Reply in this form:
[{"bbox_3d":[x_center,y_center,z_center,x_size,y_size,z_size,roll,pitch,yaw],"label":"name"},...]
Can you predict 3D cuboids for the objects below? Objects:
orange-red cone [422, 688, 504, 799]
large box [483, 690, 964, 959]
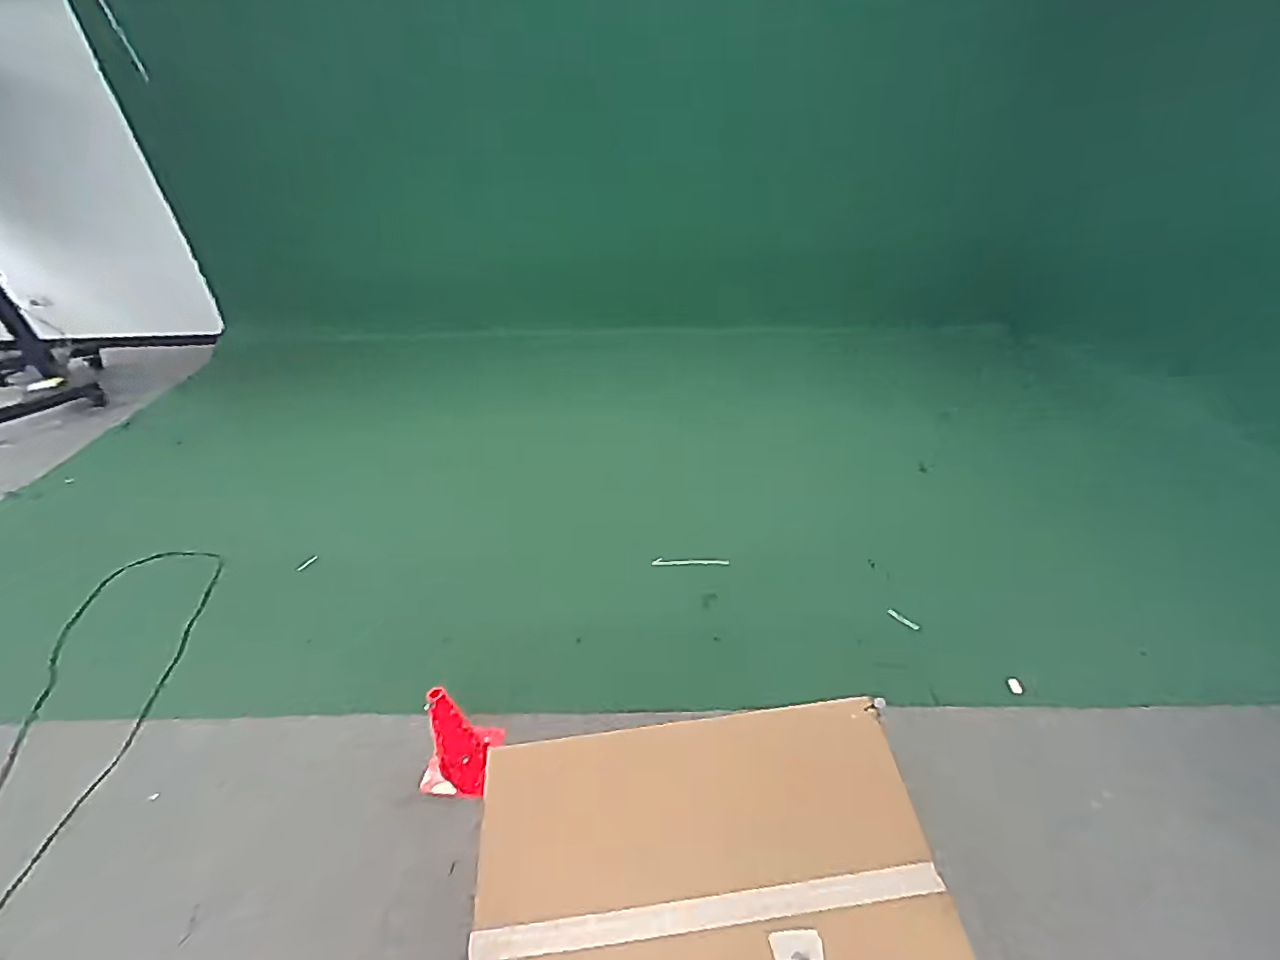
[{"bbox_3d":[-0.532,0.701,1.510,0.199,0.360,0.198,2,36,8],"label":"orange-red cone"},{"bbox_3d":[0.068,0.466,0.588,0.408,0.320,0.320,-8,49,-2],"label":"large box"}]
